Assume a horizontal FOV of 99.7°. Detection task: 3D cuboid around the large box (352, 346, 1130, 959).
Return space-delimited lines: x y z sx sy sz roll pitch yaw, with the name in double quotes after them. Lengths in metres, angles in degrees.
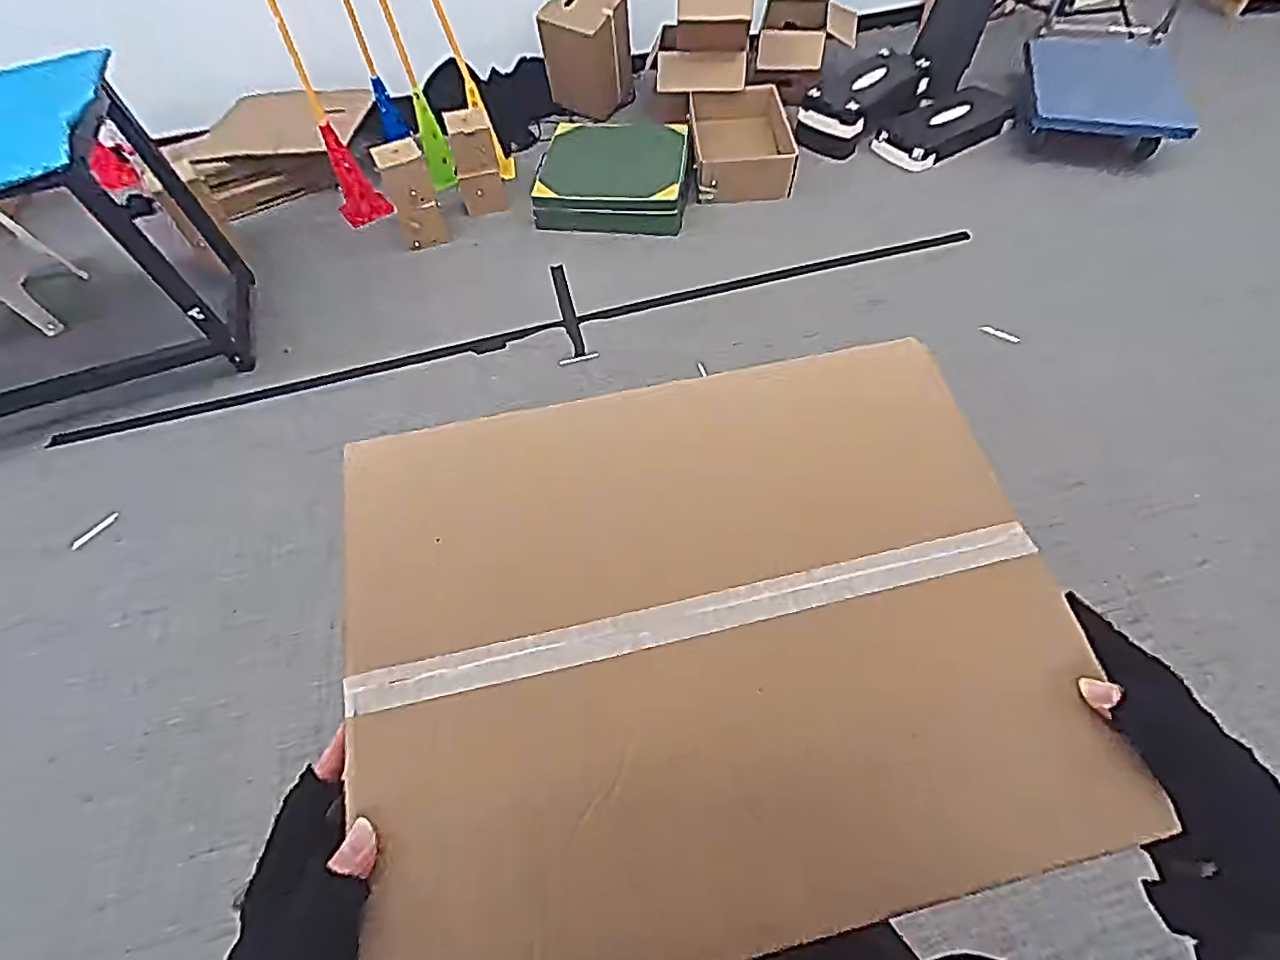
0.037 0.137 0.460 0.408 0.320 0.320 -12 67 -5 "large box"
